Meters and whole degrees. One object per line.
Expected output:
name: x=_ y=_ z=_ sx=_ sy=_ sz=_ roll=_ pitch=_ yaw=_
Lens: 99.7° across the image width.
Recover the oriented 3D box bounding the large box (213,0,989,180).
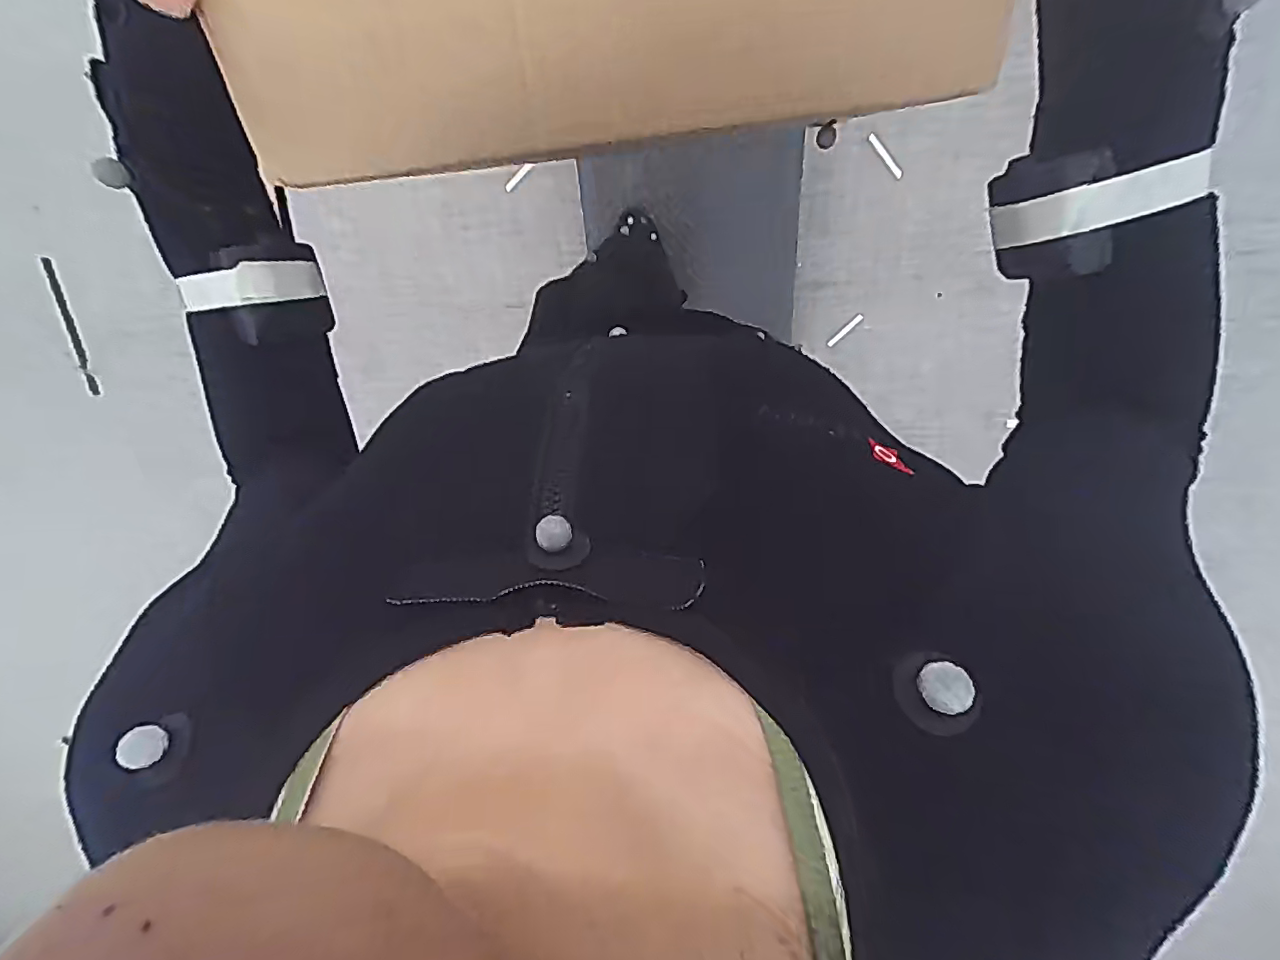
large box: x=-0.026 y=-0.405 z=0.354 sx=0.408 sy=0.320 sz=0.320 roll=-4 pitch=121 yaw=6
